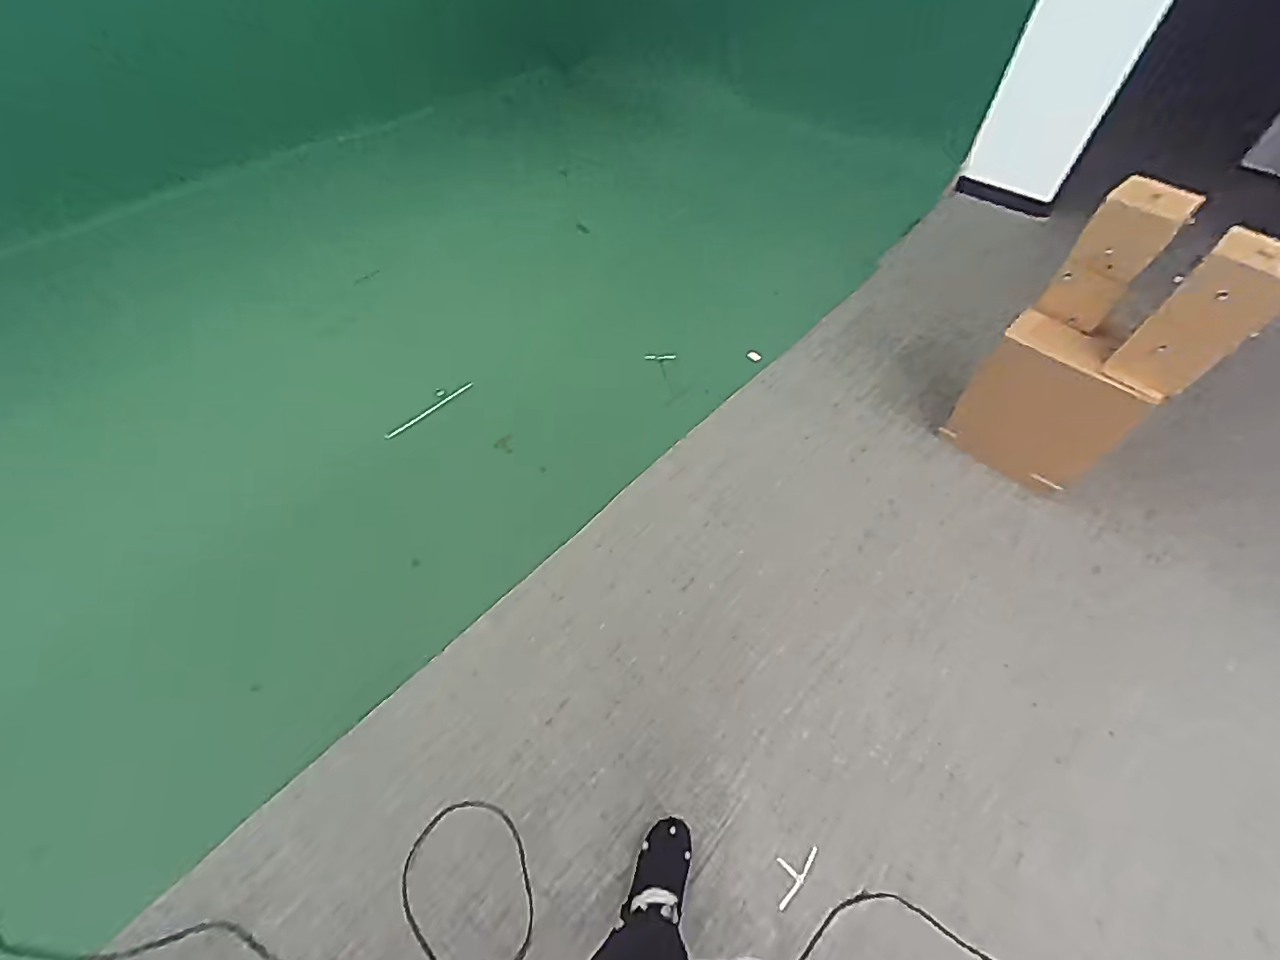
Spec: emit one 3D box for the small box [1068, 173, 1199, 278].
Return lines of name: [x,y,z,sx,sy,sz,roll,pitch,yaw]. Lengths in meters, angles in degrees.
small box: [1.277,-0.663,1.412,0.179,0.176,0.168,-36,60,-22]

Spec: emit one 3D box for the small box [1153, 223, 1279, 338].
small box: [1.376,-0.458,1.259,0.168,0.176,0.179,-37,62,-23]

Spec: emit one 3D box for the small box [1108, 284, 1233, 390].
small box: [1.375,-0.365,1.394,0.168,0.176,0.179,-39,62,-21]
